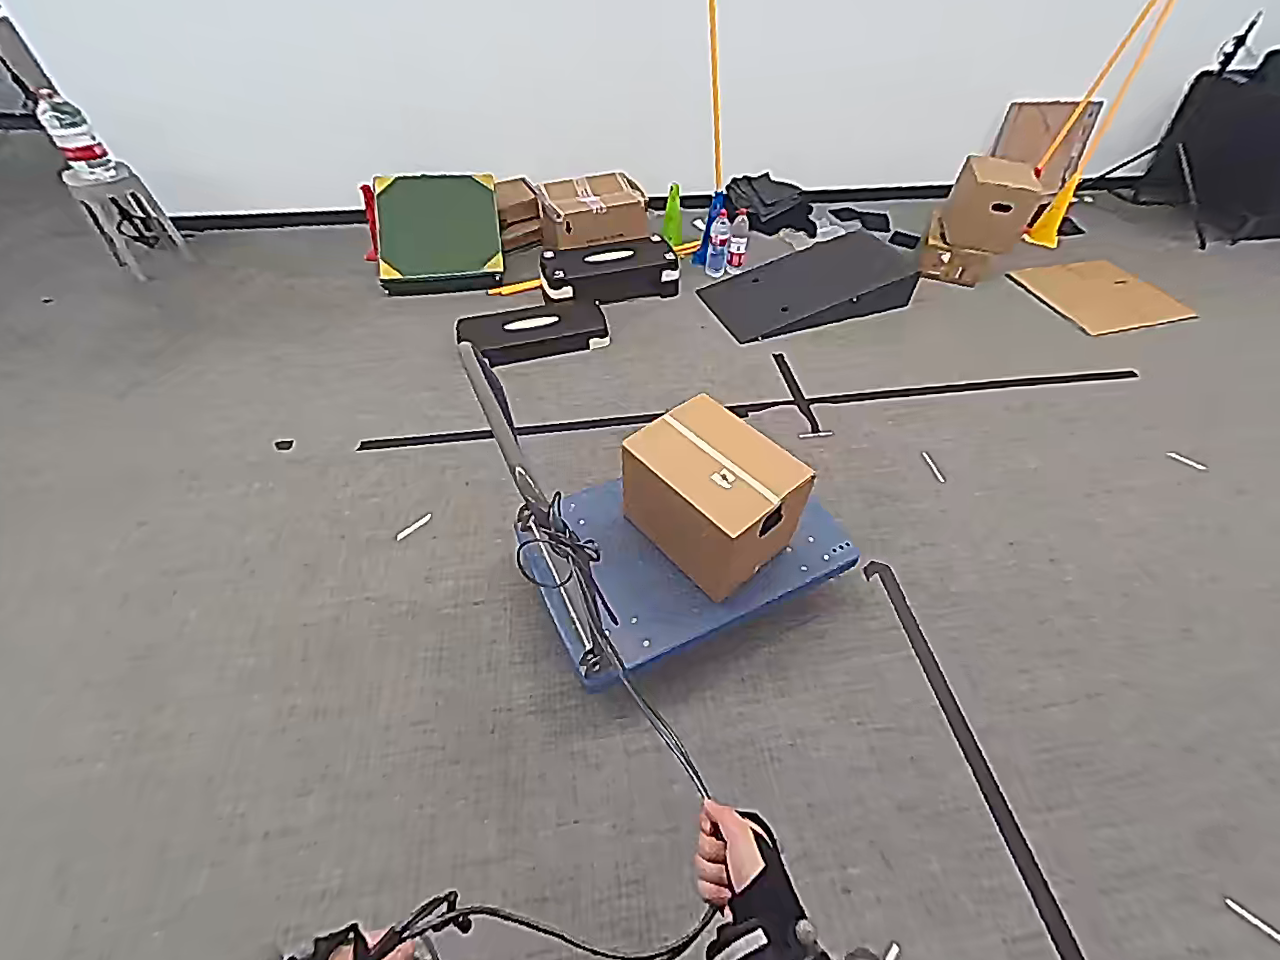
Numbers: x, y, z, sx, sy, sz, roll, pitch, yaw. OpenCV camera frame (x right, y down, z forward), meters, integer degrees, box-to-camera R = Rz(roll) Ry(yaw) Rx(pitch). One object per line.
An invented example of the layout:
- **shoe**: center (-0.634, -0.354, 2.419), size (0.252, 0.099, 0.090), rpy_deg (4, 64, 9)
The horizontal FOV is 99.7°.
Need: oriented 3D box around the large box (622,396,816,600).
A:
- **large box**: center (0.192, 0.043, 1.487), size (0.320, 0.320, 0.408), rpy_deg (-34, 59, -25)
